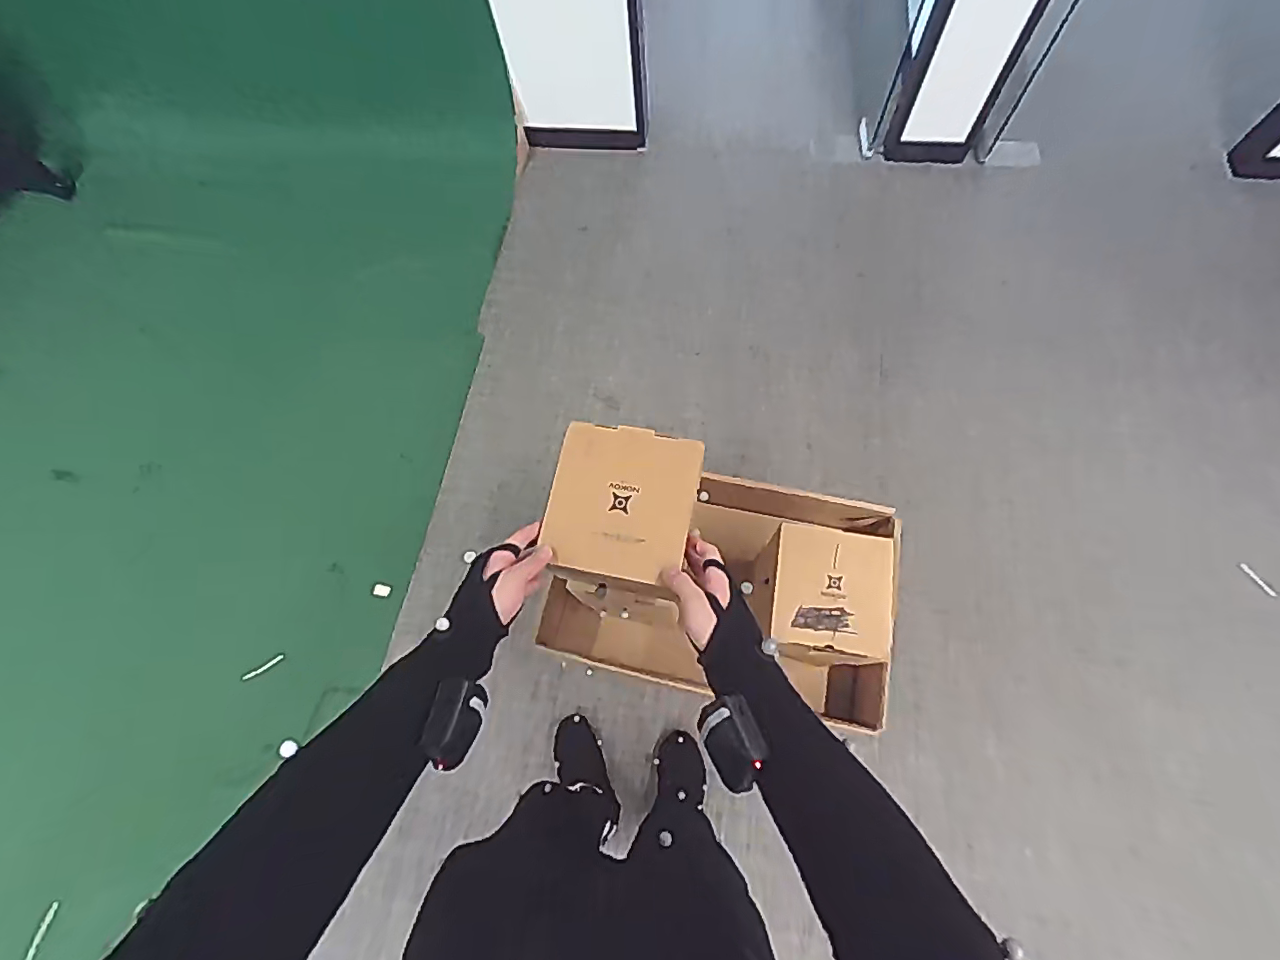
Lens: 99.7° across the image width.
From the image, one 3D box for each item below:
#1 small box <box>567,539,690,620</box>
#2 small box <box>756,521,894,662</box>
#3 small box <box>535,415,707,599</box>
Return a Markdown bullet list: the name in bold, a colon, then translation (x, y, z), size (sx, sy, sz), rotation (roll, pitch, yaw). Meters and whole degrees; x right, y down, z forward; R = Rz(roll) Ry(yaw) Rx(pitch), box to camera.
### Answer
- **small box**: translation (-0.008, 0.119, 0.887), size (0.168, 0.176, 0.179), rotation (9, 70, 8)
- **small box**: translation (0.280, 0.181, 0.845), size (0.168, 0.176, 0.179), rotation (9, 70, 7)
- **small box**: translation (-0.016, 0.043, 0.689), size (0.168, 0.176, 0.179), rotation (11, 73, 7)
